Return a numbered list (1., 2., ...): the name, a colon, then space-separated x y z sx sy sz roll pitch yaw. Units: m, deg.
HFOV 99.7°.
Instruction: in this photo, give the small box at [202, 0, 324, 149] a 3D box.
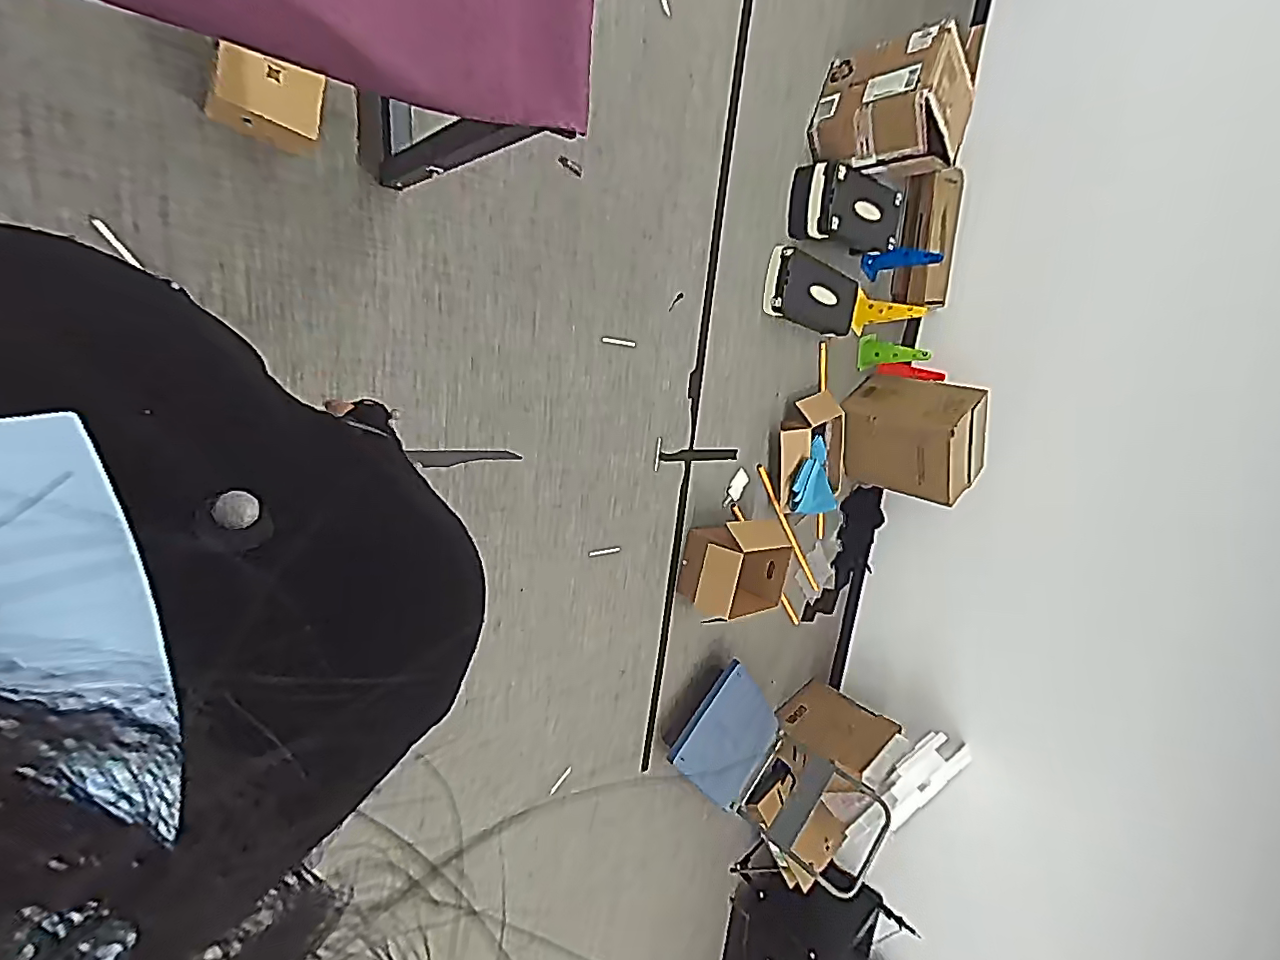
1. small box: -0.748 -0.791 1.068 0.168 0.176 0.179 6 99 -45
